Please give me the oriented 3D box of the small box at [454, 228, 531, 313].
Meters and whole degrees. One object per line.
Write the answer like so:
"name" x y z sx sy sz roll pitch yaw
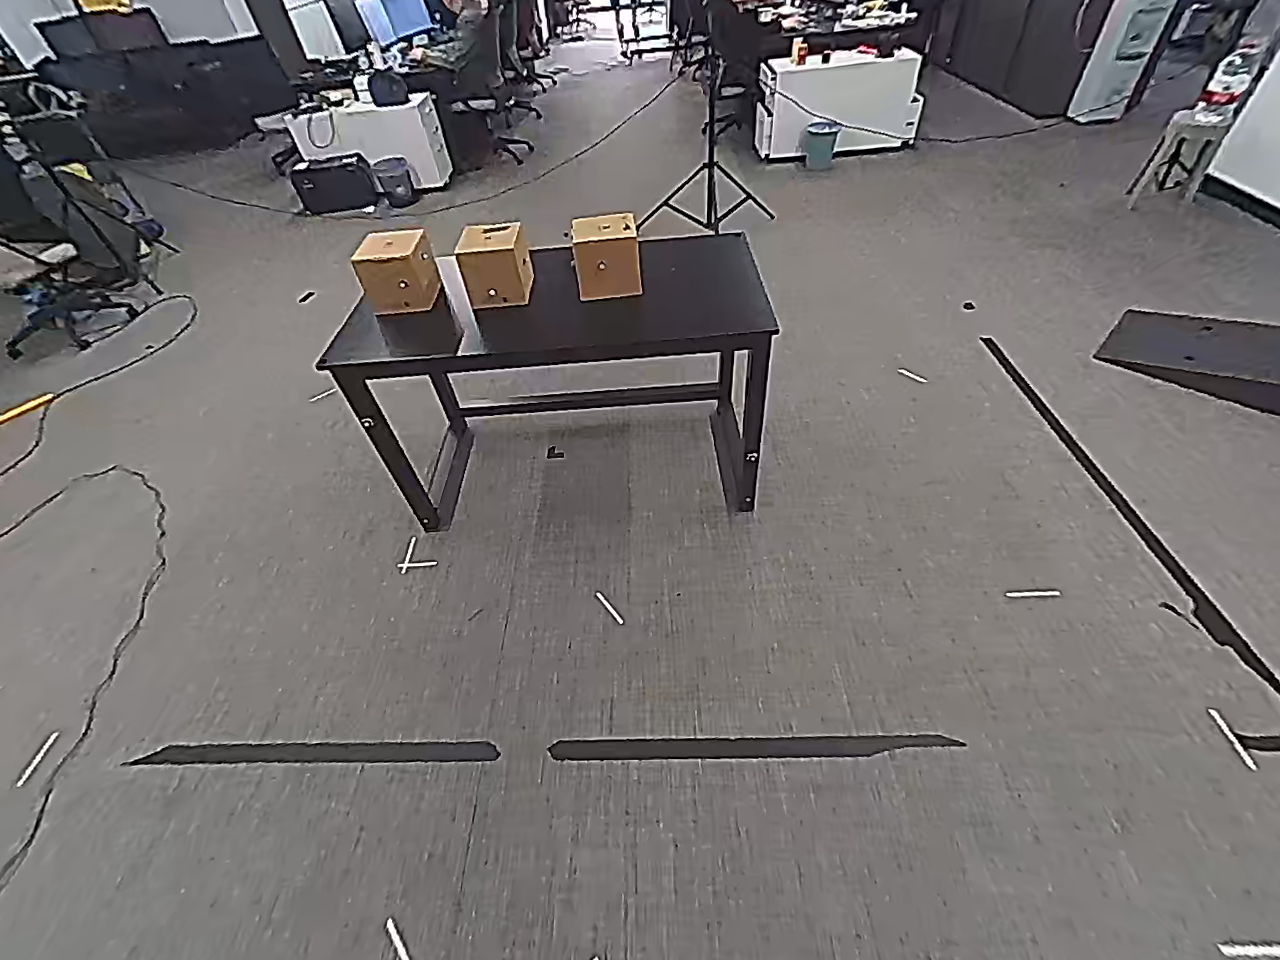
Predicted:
"small box" -0.418 -0.604 1.563 0.168 0.176 0.179 -4 47 2

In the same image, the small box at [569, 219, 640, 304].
"small box" -0.100 -0.620 1.546 0.179 0.176 0.168 -7 47 0

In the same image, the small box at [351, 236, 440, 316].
"small box" -0.704 -0.591 1.581 0.168 0.176 0.179 -4 46 0
